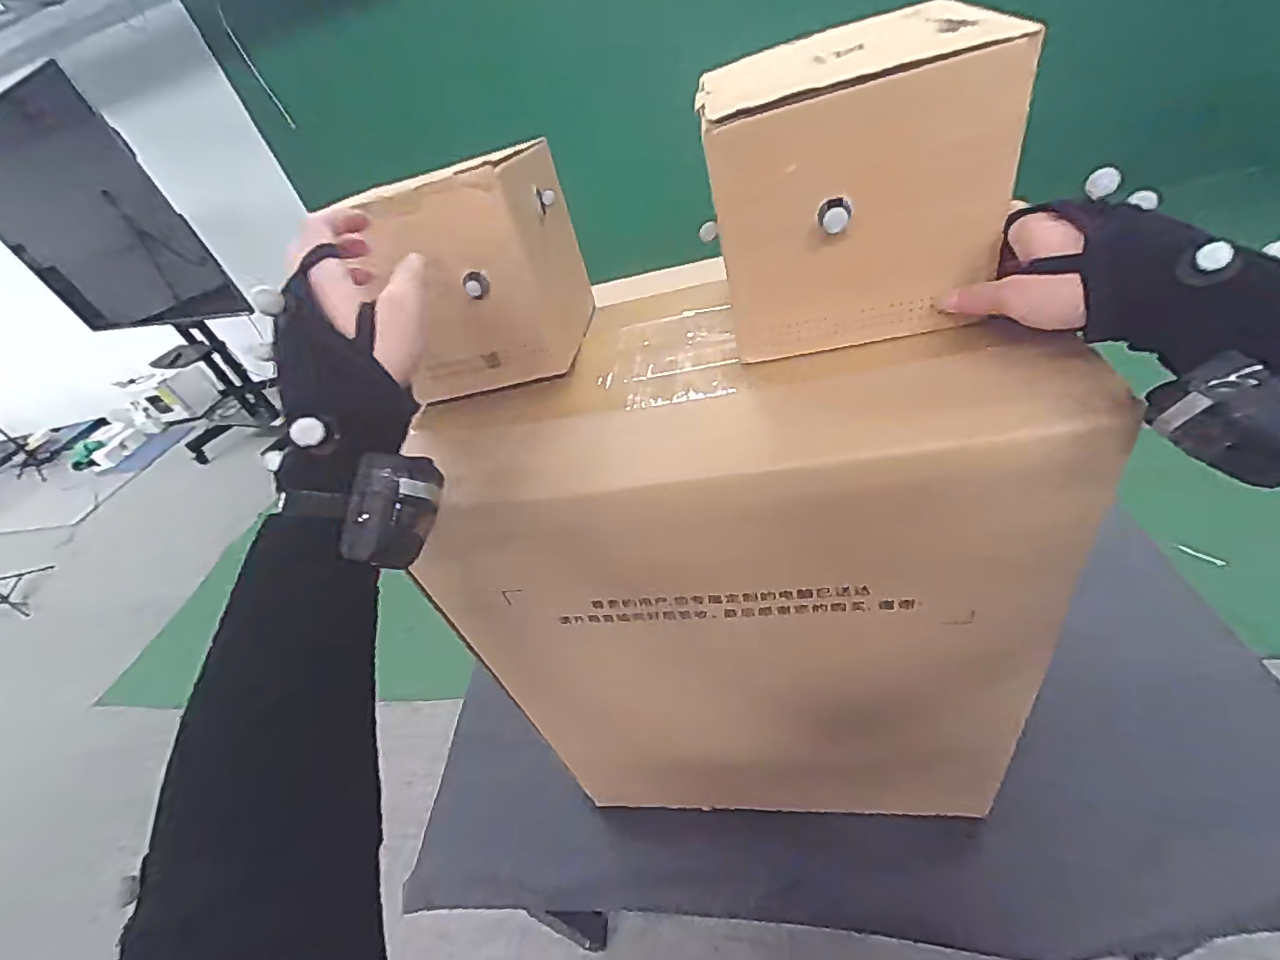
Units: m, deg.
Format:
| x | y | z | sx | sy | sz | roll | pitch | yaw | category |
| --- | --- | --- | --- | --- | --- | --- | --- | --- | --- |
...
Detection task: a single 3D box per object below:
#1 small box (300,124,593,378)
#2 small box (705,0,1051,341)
| x | y | z | sx | sy | sz | roll | pitch | yaw | category |
| --- | --- | --- | --- | --- | --- | --- | --- | --- | --- |
| -0.149 | -0.203 | 0.494 | 0.168 | 0.176 | 0.179 | -8 | 34 | 10 | small box |
| 0.150 | -0.222 | 0.398 | 0.179 | 0.176 | 0.168 | -9 | 43 | 12 | small box |
